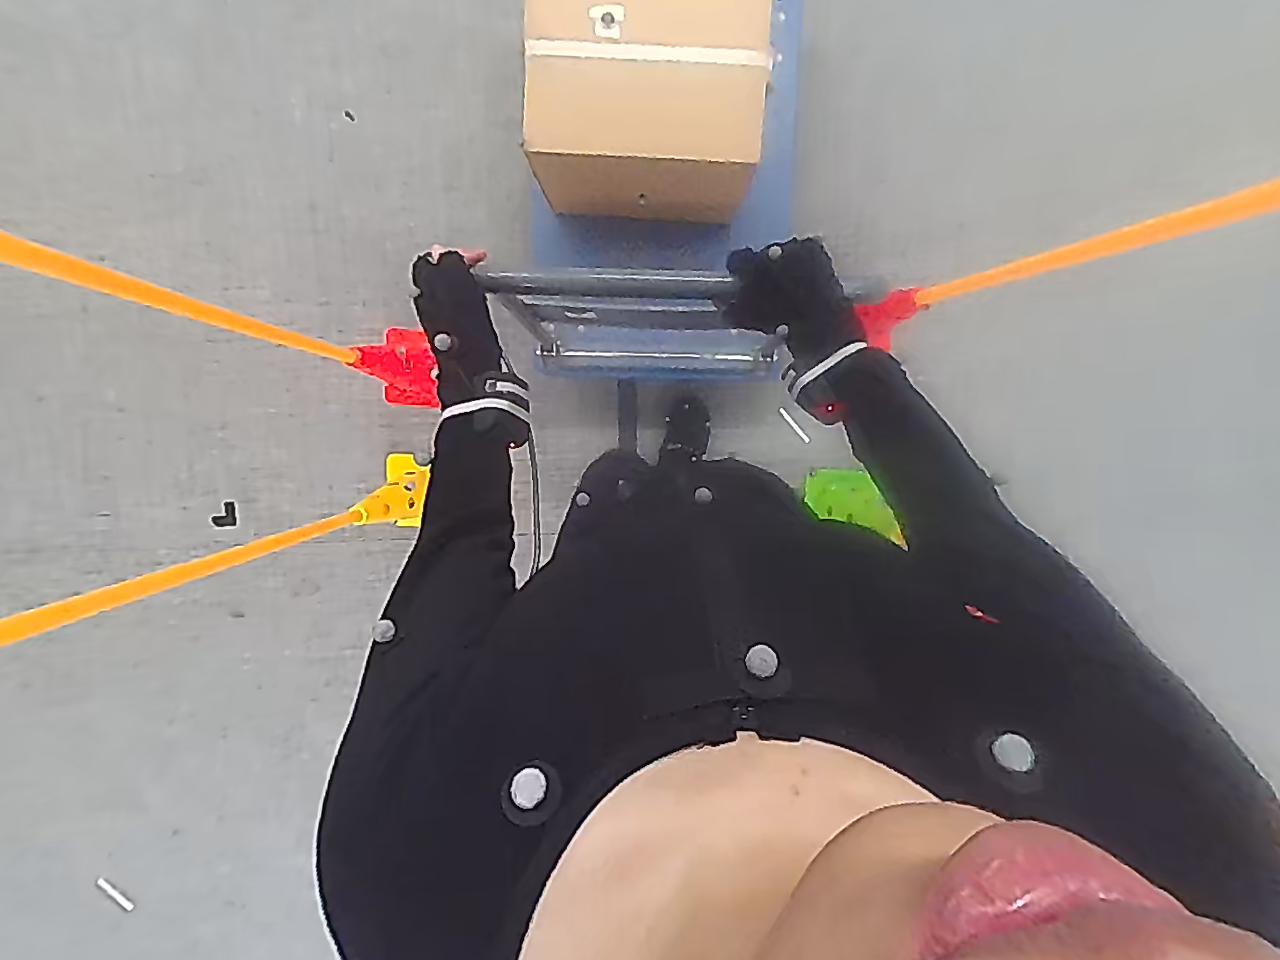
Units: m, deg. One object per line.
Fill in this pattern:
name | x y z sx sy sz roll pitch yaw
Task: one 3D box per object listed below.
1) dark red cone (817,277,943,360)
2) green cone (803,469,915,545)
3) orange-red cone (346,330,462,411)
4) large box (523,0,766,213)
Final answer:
dark red cone | 0.550 -0.383 1.208 0.201 0.394 0.202 -2 98 0
green cone | 0.543 0.095 1.288 0.202 0.368 0.200 2 97 0
orange-red cone | -0.577 -0.272 1.267 0.198 0.360 0.199 6 96 0
large box | 0.010 -0.729 1.046 0.408 0.320 0.320 4 99 1
